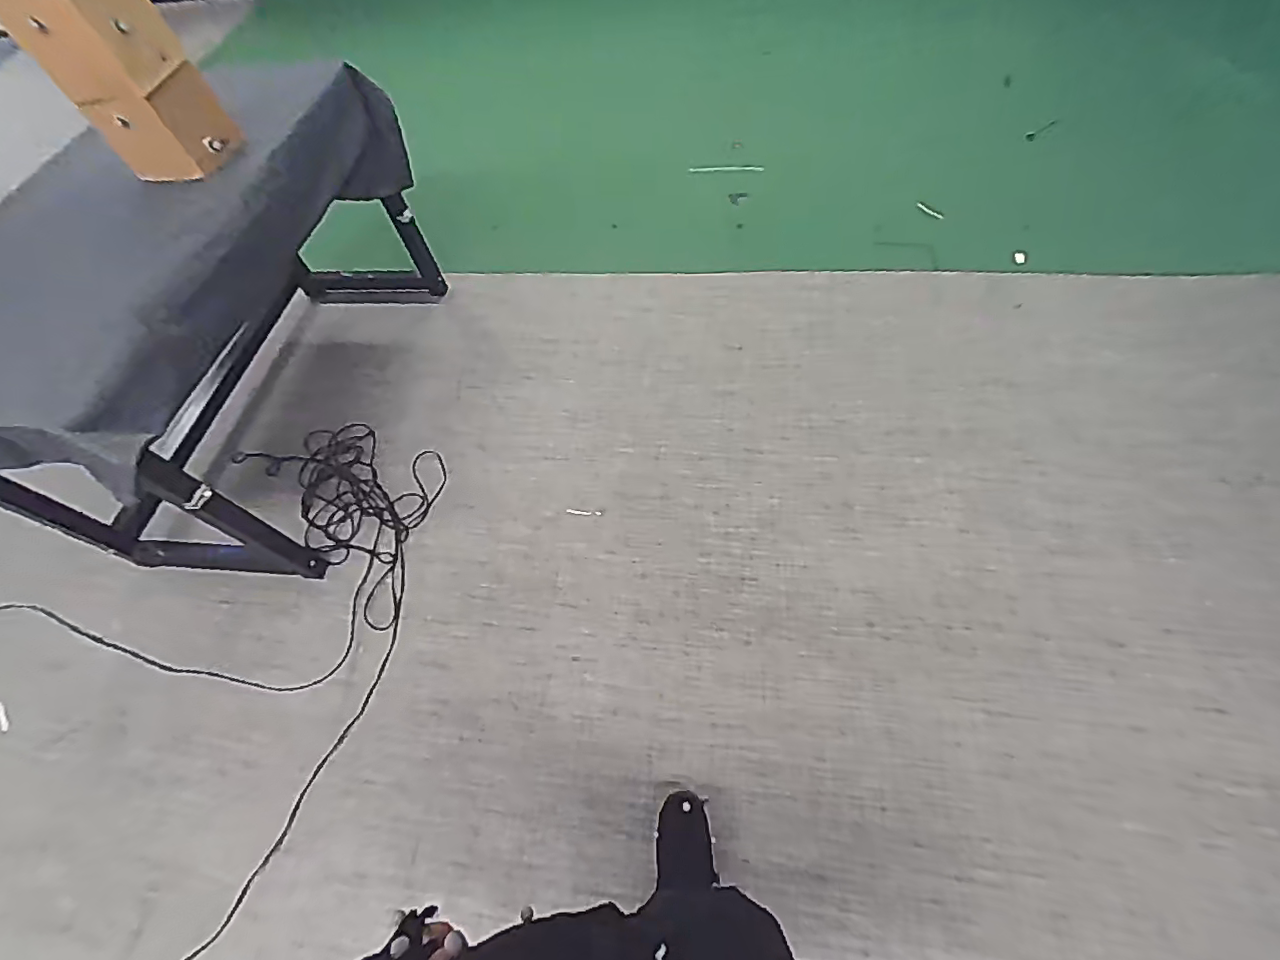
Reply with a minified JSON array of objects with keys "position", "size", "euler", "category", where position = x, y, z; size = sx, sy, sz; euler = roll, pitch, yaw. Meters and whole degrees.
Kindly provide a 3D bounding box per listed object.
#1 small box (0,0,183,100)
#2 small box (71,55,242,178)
[{"position":[-1.033,-0.853,1.021],"size":[0.179,0.176,0.168],"euler":[2,61,9],"category":"small box"},{"position":[-1.024,-0.775,1.163],"size":[0.179,0.176,0.168],"euler":[4,61,8],"category":"small box"}]
